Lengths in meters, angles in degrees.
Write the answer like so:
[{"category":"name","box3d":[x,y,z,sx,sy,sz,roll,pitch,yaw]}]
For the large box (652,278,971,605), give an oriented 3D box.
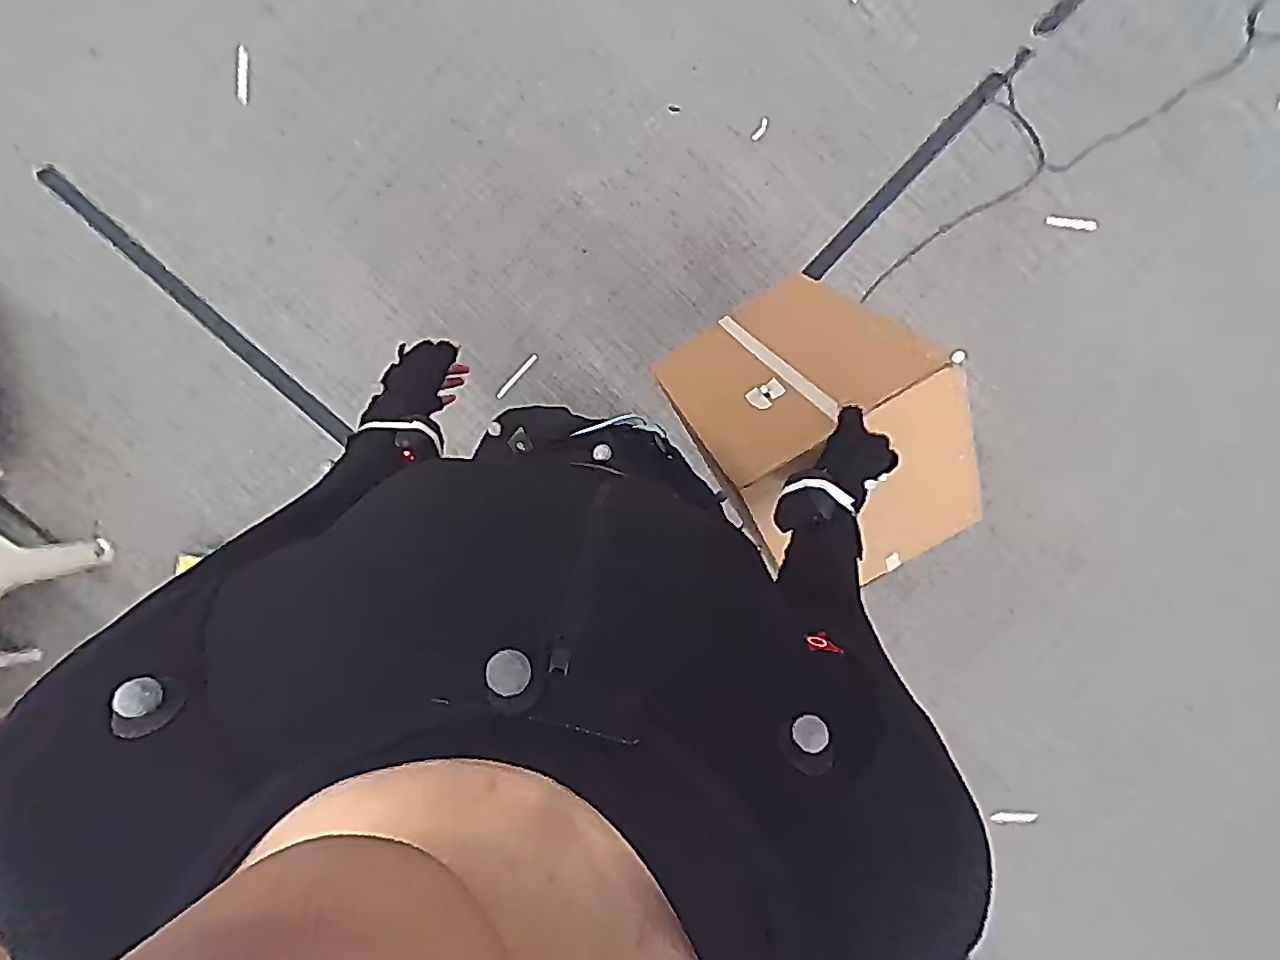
[{"category":"large box","box3d":[0.271,-0.077,0.912,0.320,0.408,0.320,-32,129,5]}]
